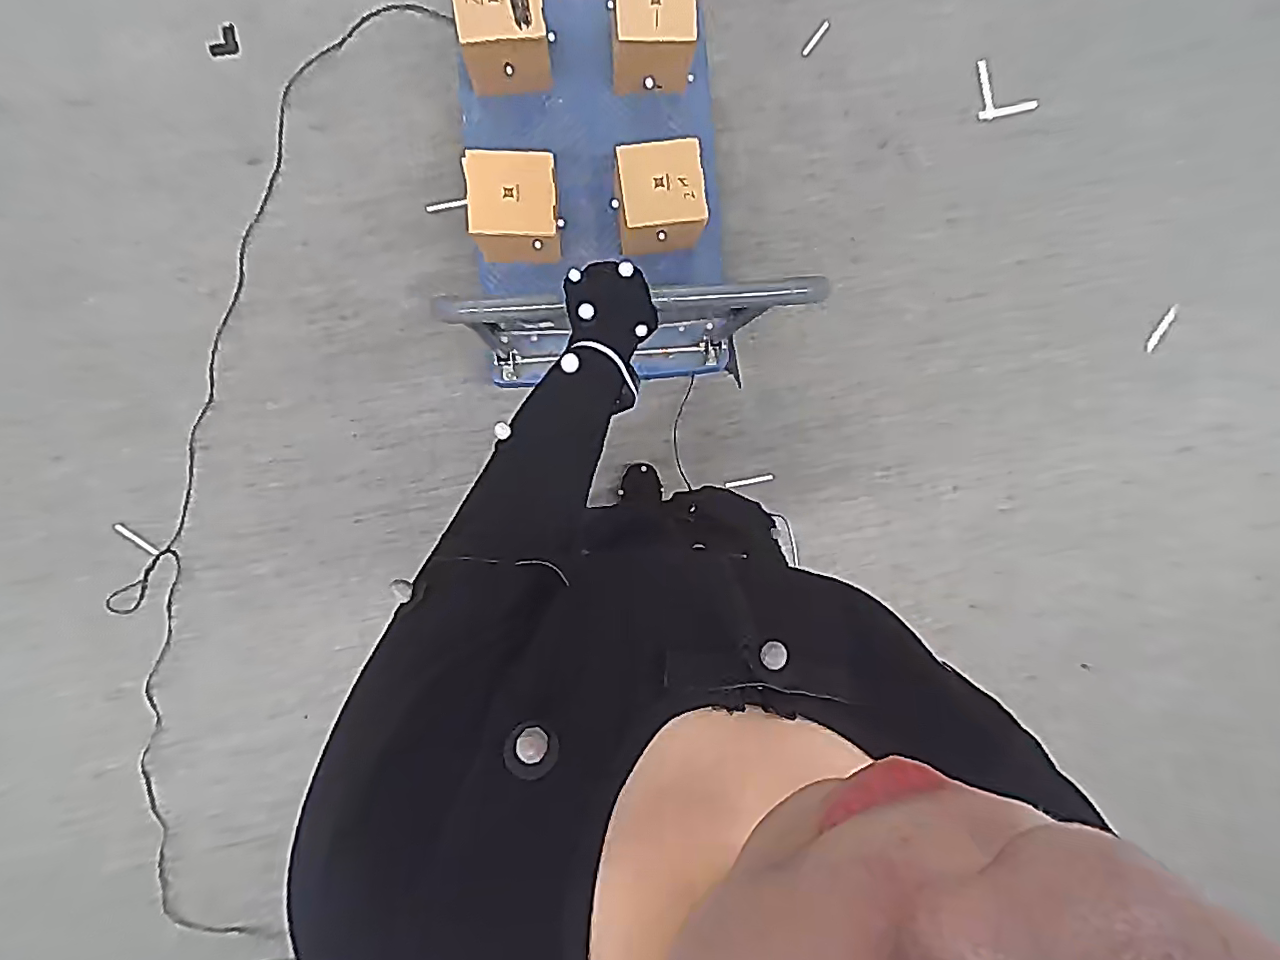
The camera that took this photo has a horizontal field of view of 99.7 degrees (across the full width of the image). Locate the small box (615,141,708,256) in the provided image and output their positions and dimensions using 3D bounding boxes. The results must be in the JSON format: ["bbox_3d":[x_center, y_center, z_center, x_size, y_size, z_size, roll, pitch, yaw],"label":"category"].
[{"bbox_3d":[0.041,-0.611,1.195,0.179,0.176,0.168,-9,94,-5],"label":"small box"}]

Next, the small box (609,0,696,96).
[{"bbox_3d":[0.022,-0.977,1.173,0.168,0.176,0.179,-4,95,-5],"label":"small box"}]

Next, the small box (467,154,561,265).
[{"bbox_3d":[-0.266,-0.575,1.170,0.179,0.176,0.168,-3,93,-7],"label":"small box"}]
